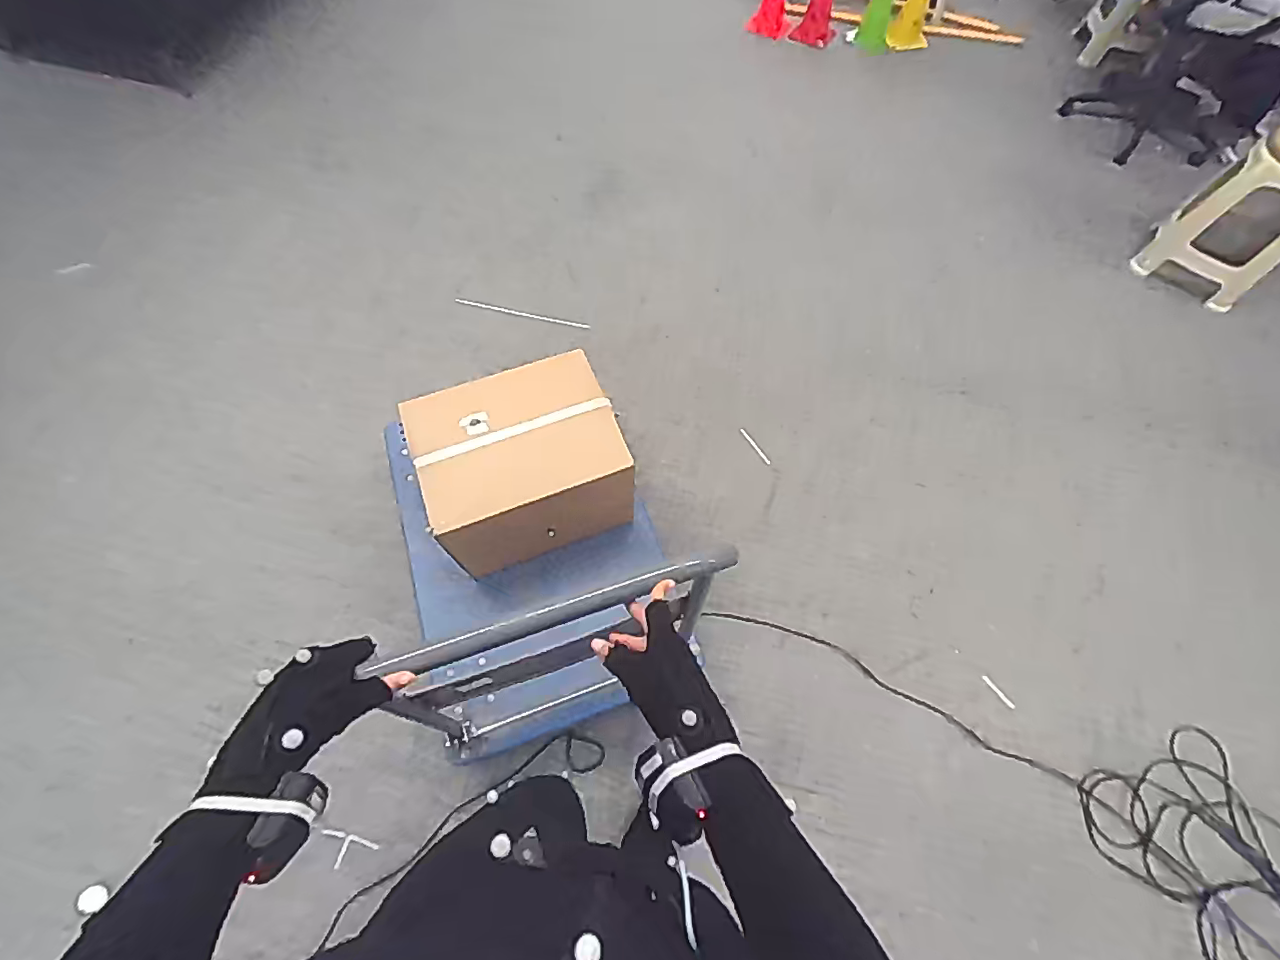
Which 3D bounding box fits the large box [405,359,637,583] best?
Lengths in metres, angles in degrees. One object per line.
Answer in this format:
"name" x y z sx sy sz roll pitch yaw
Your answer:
"large box" -0.248 -0.010 1.230 0.408 0.320 0.320 -21 65 -10
